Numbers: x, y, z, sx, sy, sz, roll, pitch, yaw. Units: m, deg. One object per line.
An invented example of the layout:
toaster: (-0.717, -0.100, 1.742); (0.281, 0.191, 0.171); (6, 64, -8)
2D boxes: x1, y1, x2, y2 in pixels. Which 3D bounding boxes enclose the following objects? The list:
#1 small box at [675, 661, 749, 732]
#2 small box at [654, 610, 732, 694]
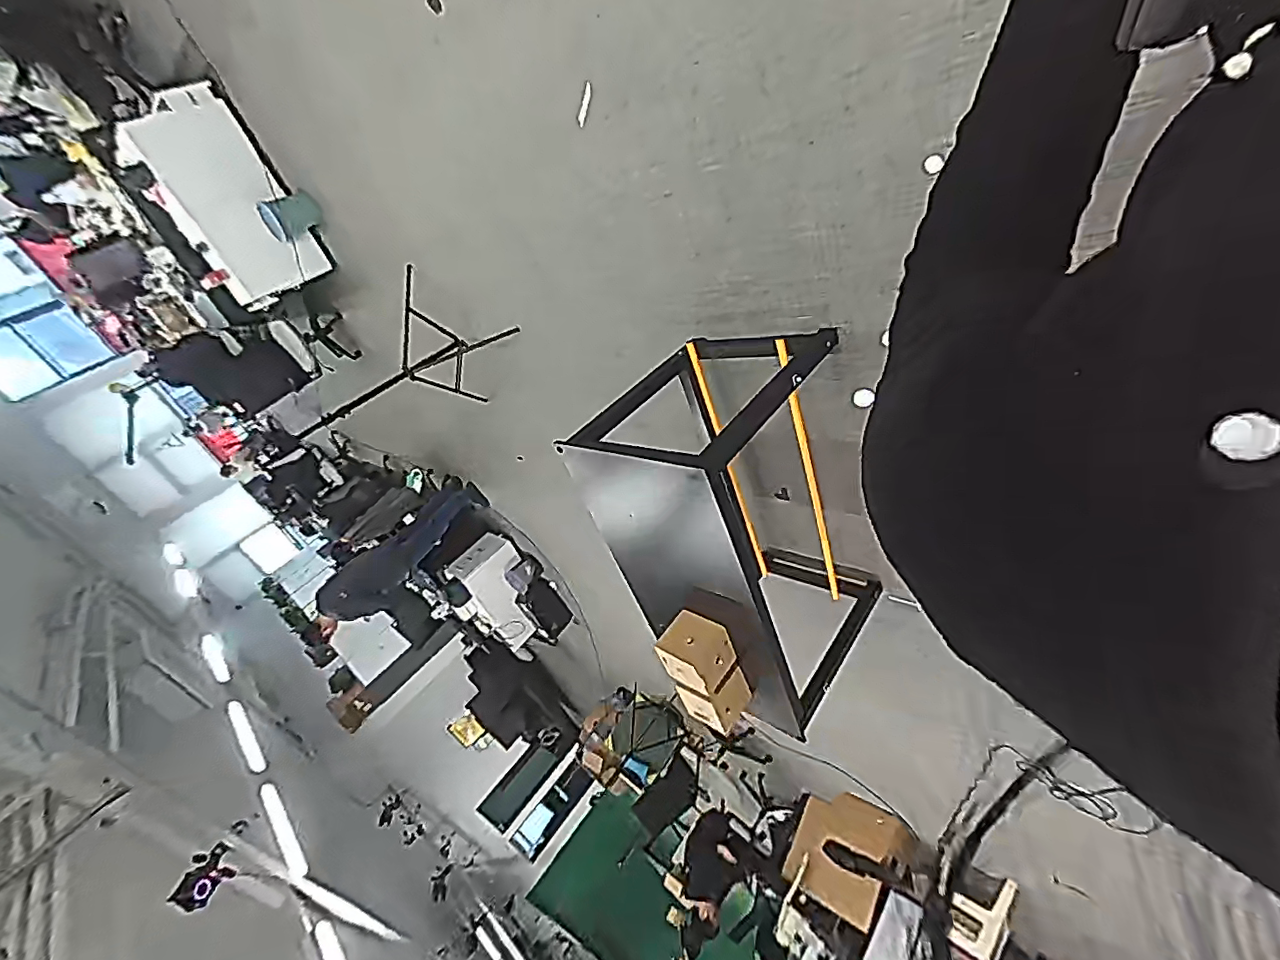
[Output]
small box: (0.256, 0.725, 1.878); (0.168, 0.176, 0.179); (10, 133, 46)
small box: (0.183, 0.555, 1.768); (0.179, 0.176, 0.168); (13, 136, 43)
